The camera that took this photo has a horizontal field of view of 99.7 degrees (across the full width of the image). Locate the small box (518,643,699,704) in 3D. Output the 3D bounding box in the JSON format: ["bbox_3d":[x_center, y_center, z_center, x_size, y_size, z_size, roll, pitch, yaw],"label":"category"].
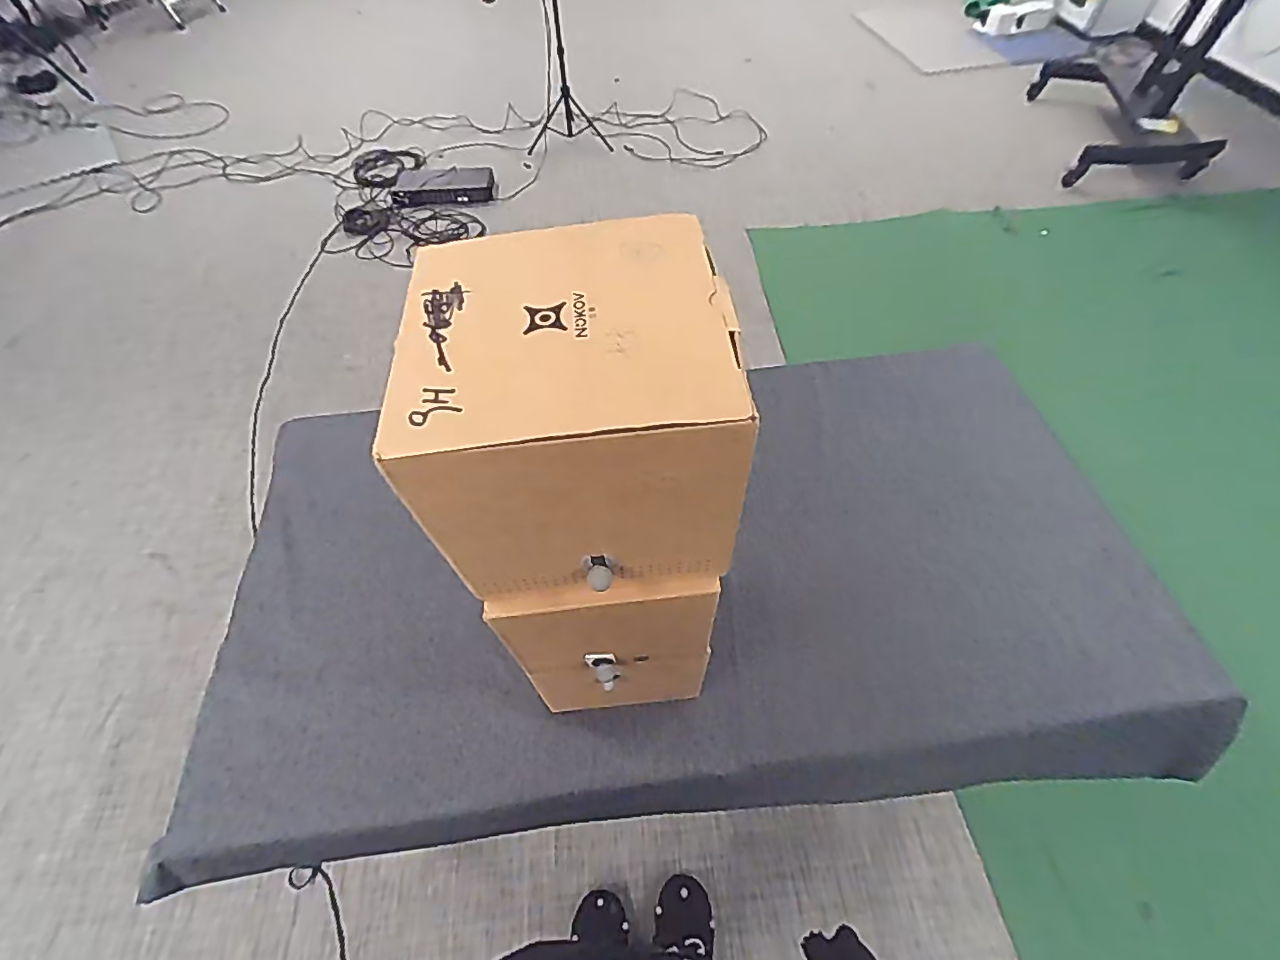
[{"bbox_3d":[-0.033,0.149,0.620,0.179,0.176,0.168,-5,56,-2],"label":"small box"}]

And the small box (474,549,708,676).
[{"bbox_3d":[-0.038,0.059,0.485,0.168,0.176,0.179,-7,57,-1],"label":"small box"}]

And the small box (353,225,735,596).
[{"bbox_3d":[-0.046,-0.036,0.353,0.179,0.176,0.168,-6,56,-1],"label":"small box"}]
